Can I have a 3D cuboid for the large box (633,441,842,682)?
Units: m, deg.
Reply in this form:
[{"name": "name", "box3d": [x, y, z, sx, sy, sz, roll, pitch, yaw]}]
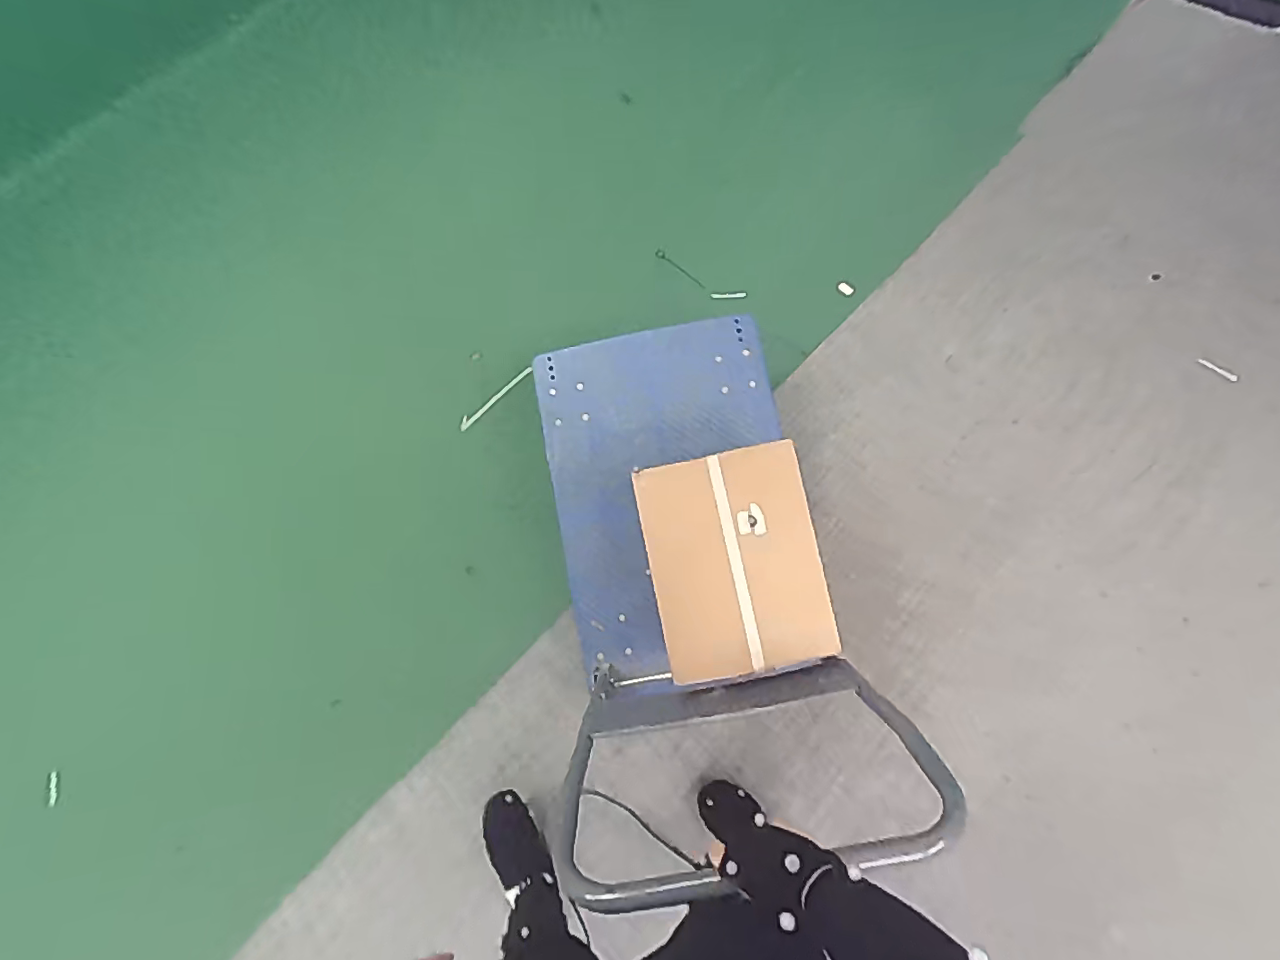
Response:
[{"name": "large box", "box3d": [0.186, 0.165, 1.160, 0.320, 0.320, 0.408, -13, 84, 1]}]
